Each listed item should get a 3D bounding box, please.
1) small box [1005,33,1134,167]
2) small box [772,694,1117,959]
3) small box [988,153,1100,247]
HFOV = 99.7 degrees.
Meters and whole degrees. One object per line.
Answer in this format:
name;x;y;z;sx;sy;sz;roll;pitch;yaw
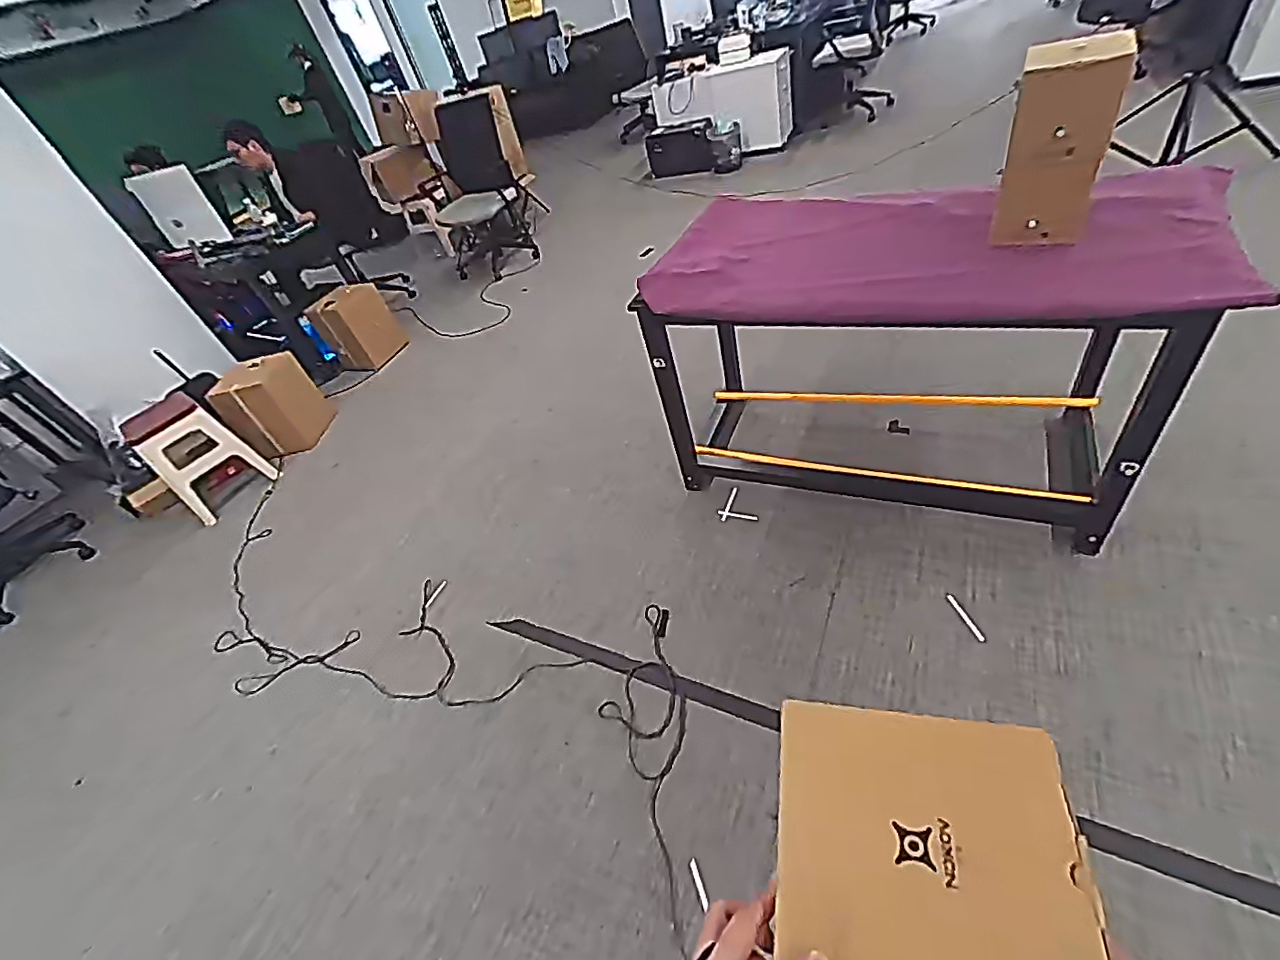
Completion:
small box;0.841;-0.744;1.070;0.168;0.176;0.179;11;51;30
small box;0.194;0.276;0.390;0.179;0.176;0.168;0;48;18
small box;0.879;-0.631;1.184;0.168;0.176;0.179;12;52;30
